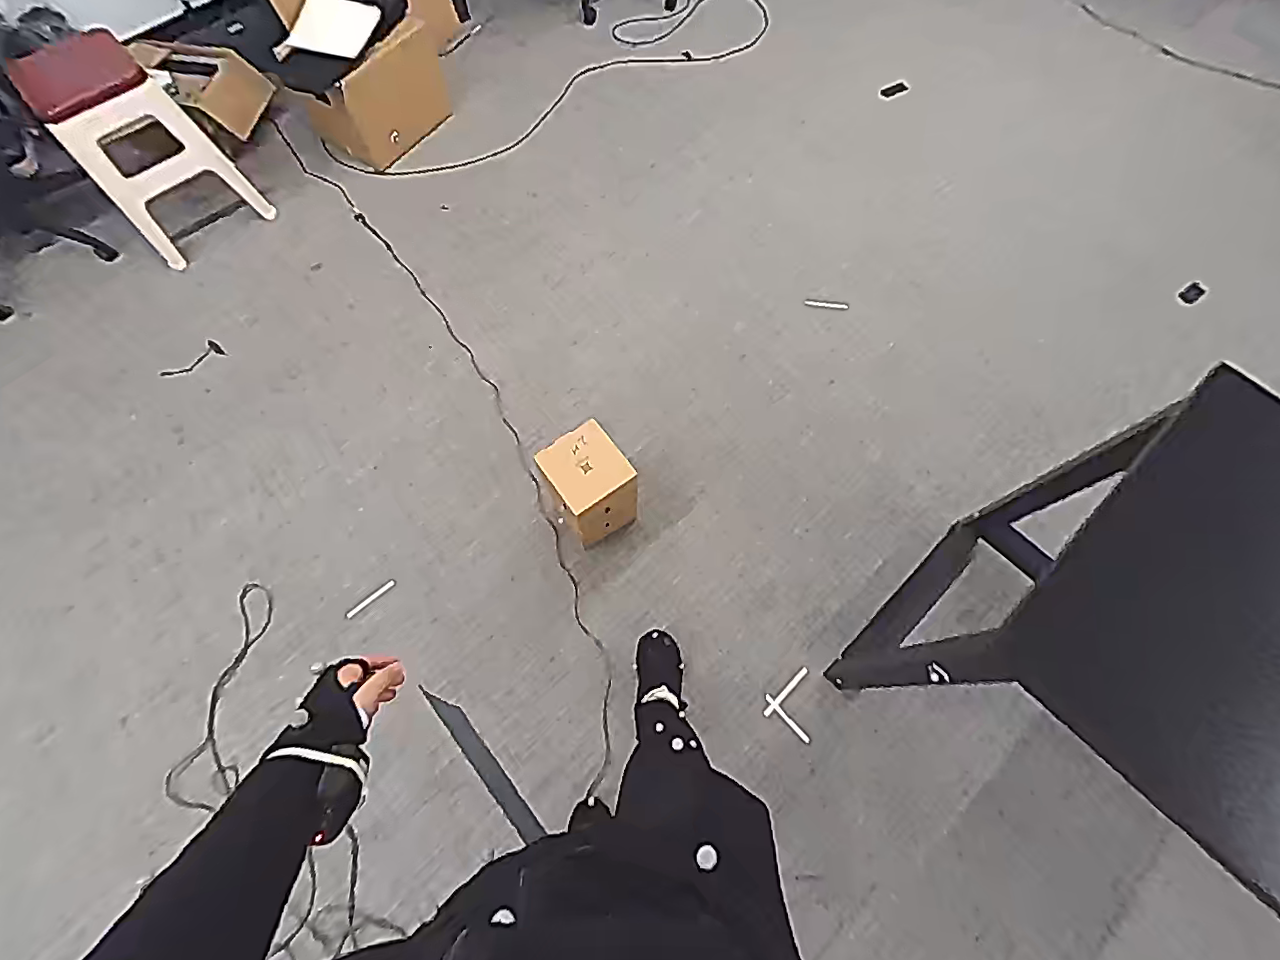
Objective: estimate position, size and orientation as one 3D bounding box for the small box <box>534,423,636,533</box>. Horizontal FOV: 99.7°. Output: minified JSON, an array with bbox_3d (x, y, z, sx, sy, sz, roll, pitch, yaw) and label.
[{"bbox_3d":[-0.123,0.005,1.262,0.168,0.176,0.179,-34,71,-15],"label":"small box"}]

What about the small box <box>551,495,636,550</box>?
[{"bbox_3d":[-0.125,0.058,1.419,0.179,0.176,0.168,-32,71,-12],"label":"small box"}]
